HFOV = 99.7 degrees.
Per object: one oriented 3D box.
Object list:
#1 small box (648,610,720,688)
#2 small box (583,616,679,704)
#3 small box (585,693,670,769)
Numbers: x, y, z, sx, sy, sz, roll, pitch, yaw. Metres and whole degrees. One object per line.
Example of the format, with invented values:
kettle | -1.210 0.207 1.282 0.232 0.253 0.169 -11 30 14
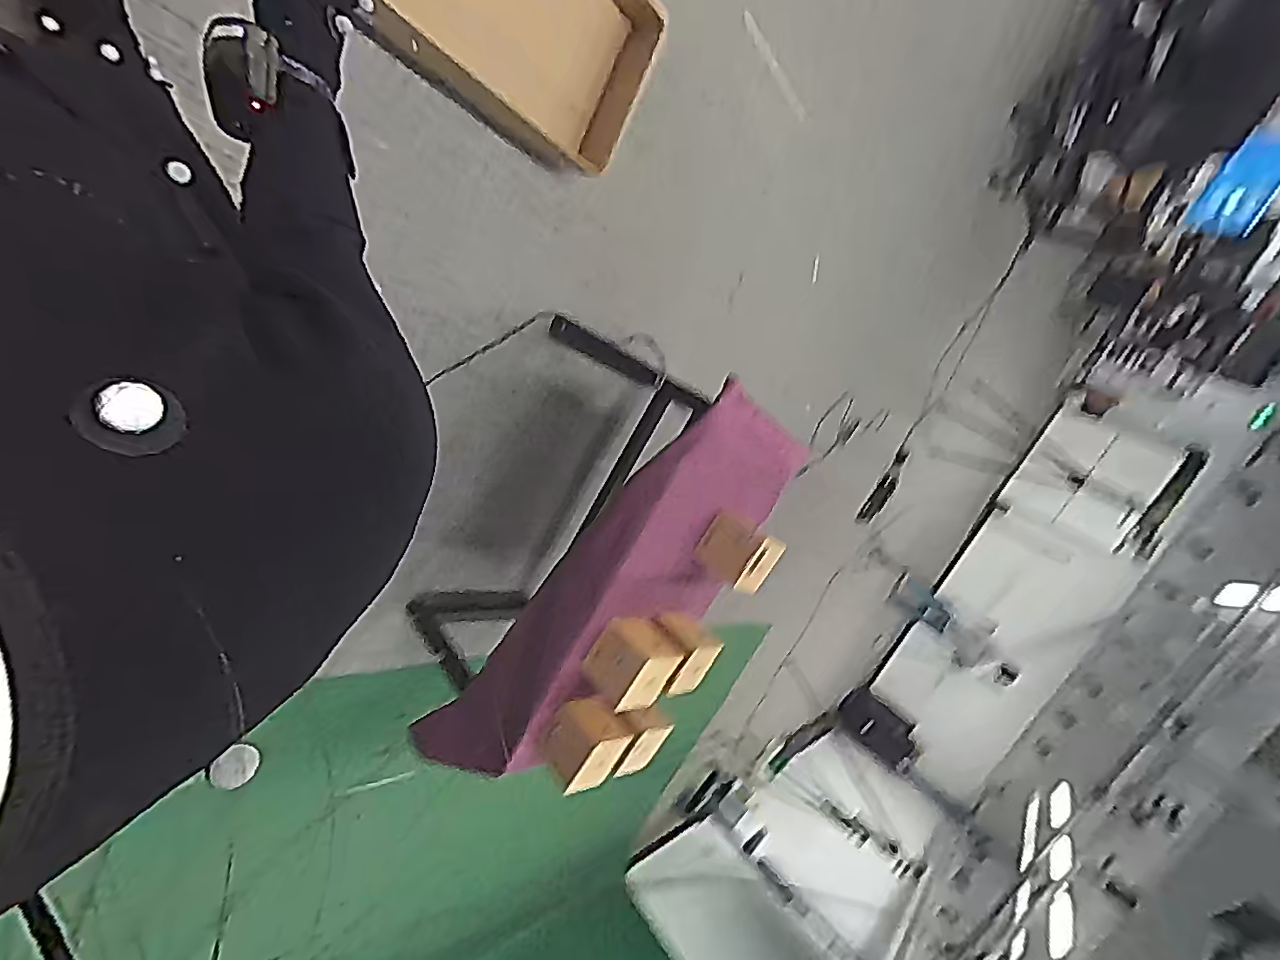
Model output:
small box | 0.111 0.520 1.690 0.179 0.176 0.168 17 105 -52
small box | -0.029 0.497 1.516 0.179 0.176 0.168 21 102 -53
small box | -0.041 0.789 1.743 0.179 0.176 0.168 24 99 -54
